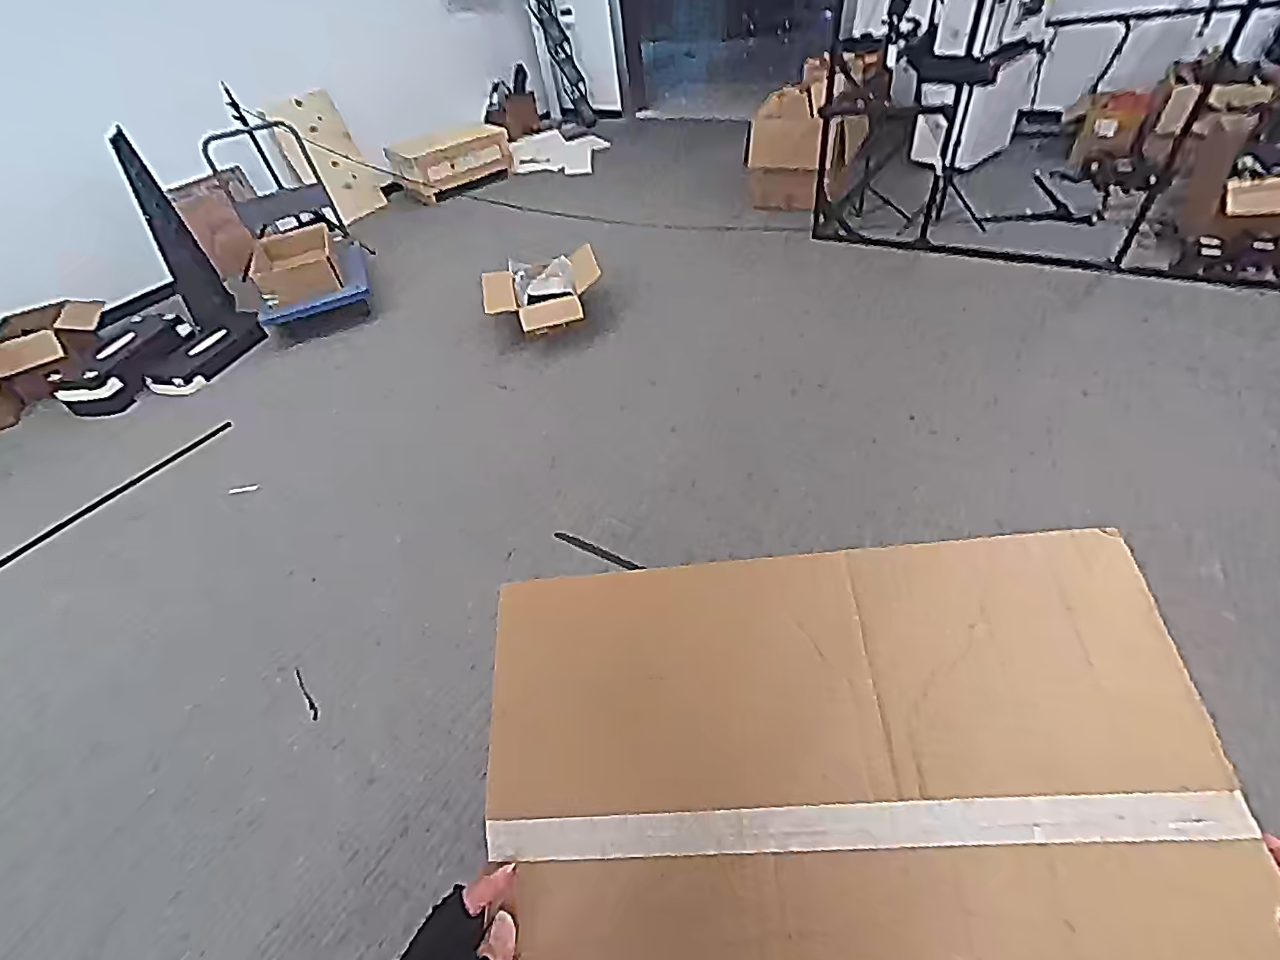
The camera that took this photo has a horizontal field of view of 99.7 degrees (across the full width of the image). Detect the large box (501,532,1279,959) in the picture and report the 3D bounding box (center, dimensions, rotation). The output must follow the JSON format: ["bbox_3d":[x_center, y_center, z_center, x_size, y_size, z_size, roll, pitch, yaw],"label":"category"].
[{"bbox_3d":[0.136,0.258,0.442,0.408,0.320,0.320,-7,65,8],"label":"large box"}]
